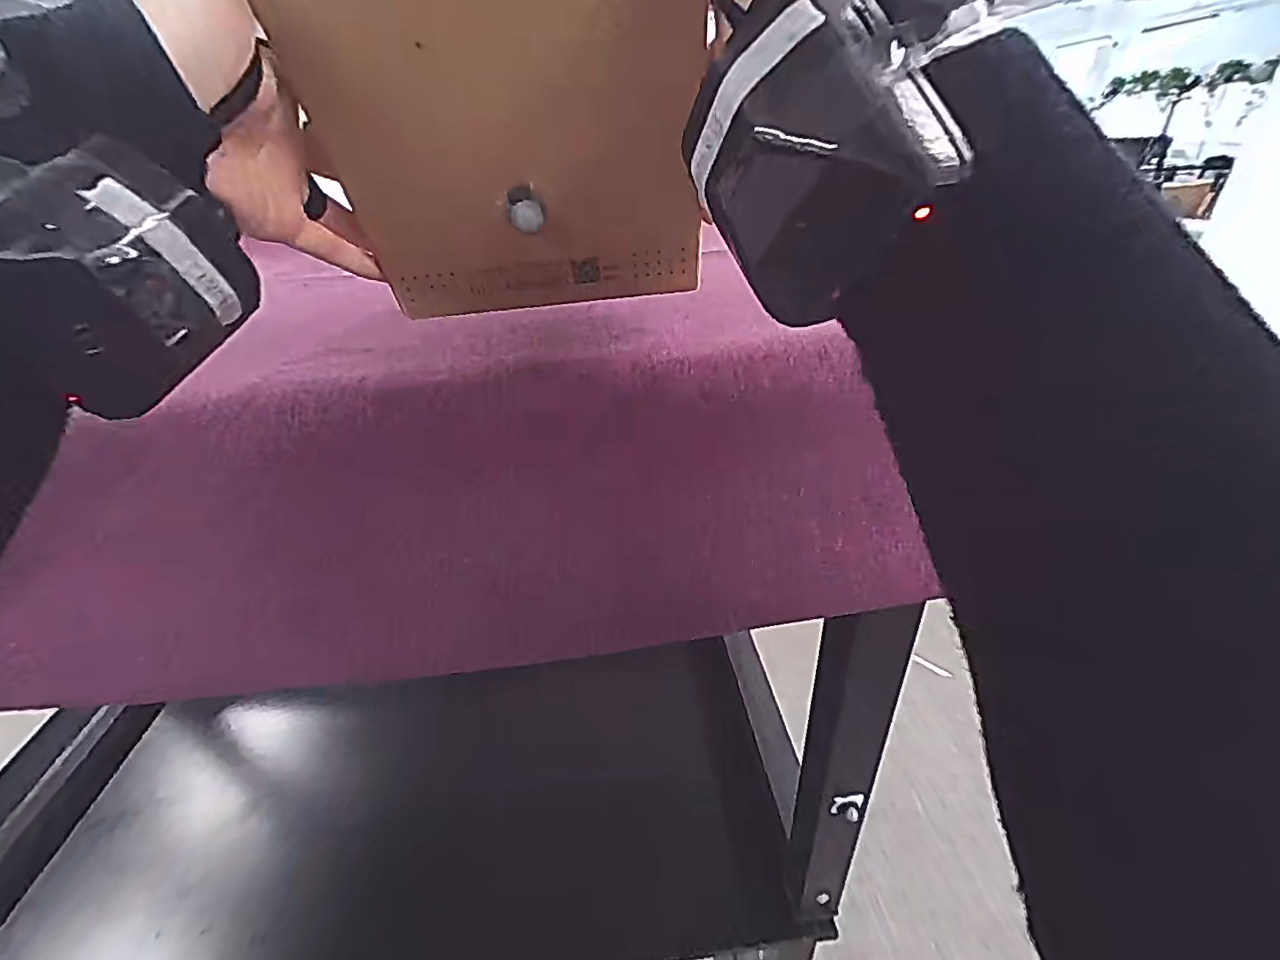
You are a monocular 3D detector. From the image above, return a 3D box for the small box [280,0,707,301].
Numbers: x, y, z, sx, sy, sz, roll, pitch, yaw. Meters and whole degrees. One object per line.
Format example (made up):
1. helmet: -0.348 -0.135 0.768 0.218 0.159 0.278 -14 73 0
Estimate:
1. small box: -0.060 -0.218 0.282 0.168 0.176 0.179 -6 53 0
